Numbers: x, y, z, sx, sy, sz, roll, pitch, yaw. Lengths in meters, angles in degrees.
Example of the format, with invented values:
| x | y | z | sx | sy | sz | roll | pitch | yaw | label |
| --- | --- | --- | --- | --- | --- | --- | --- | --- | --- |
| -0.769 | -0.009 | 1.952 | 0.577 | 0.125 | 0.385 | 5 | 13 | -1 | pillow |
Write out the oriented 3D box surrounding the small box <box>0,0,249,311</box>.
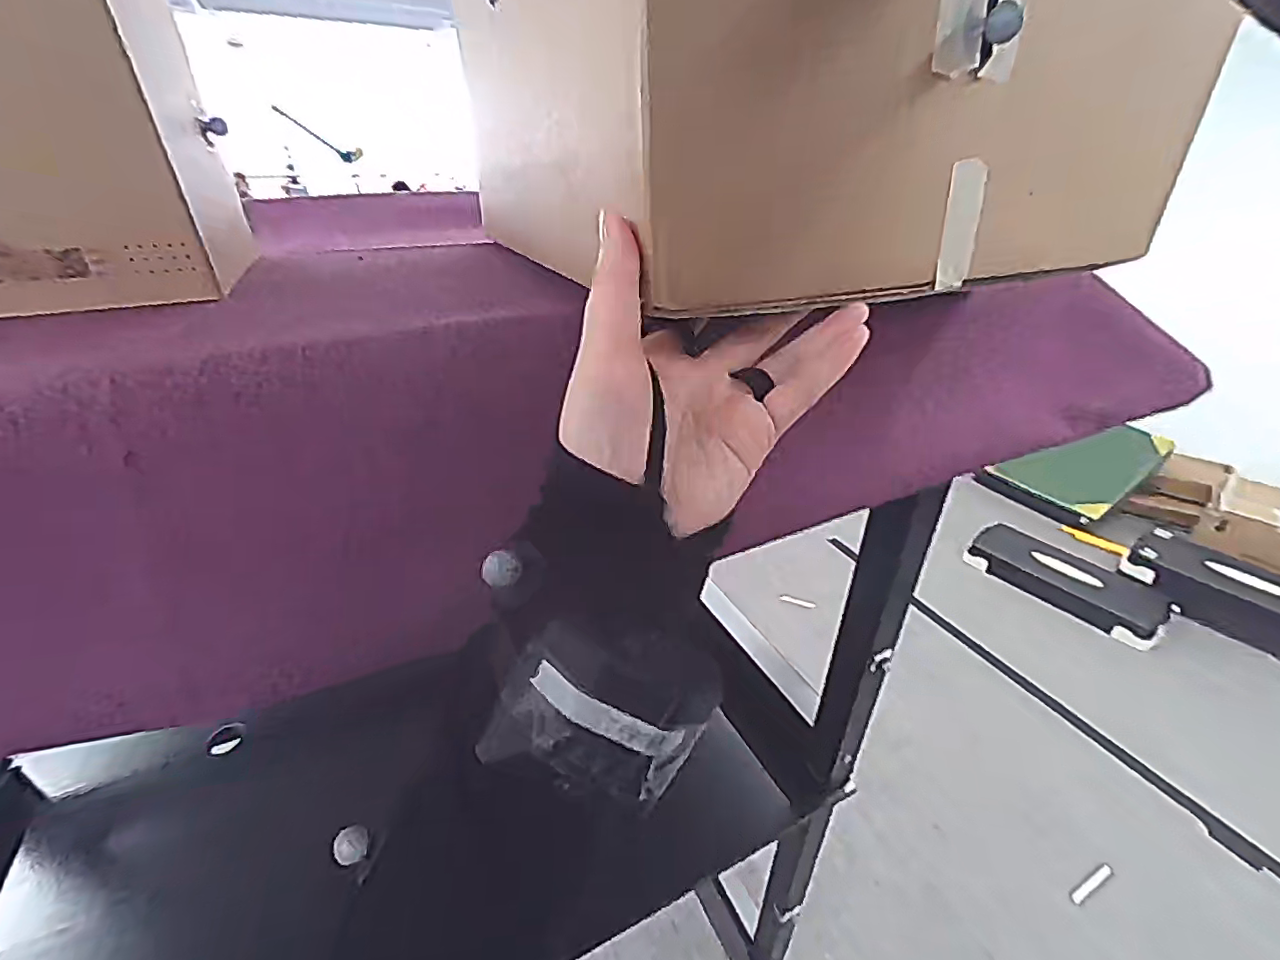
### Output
| x | y | z | sx | sy | sz | roll | pitch | yaw | label |
| --- | --- | --- | --- | --- | --- | --- | --- | --- | --- |
| -0.354 | -0.199 | 0.308 | 0.168 | 0.176 | 0.179 | -15 | 35 | -21 | small box |

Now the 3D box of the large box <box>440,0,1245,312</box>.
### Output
| x | y | z | sx | sy | sz | roll | pitch | yaw | label |
| --- | --- | --- | --- | --- | --- | --- | --- | --- | --- |
| 0.061 | -0.305 | 0.334 | 0.320 | 0.320 | 0.408 | -12 | 30 | -20 | large box |
